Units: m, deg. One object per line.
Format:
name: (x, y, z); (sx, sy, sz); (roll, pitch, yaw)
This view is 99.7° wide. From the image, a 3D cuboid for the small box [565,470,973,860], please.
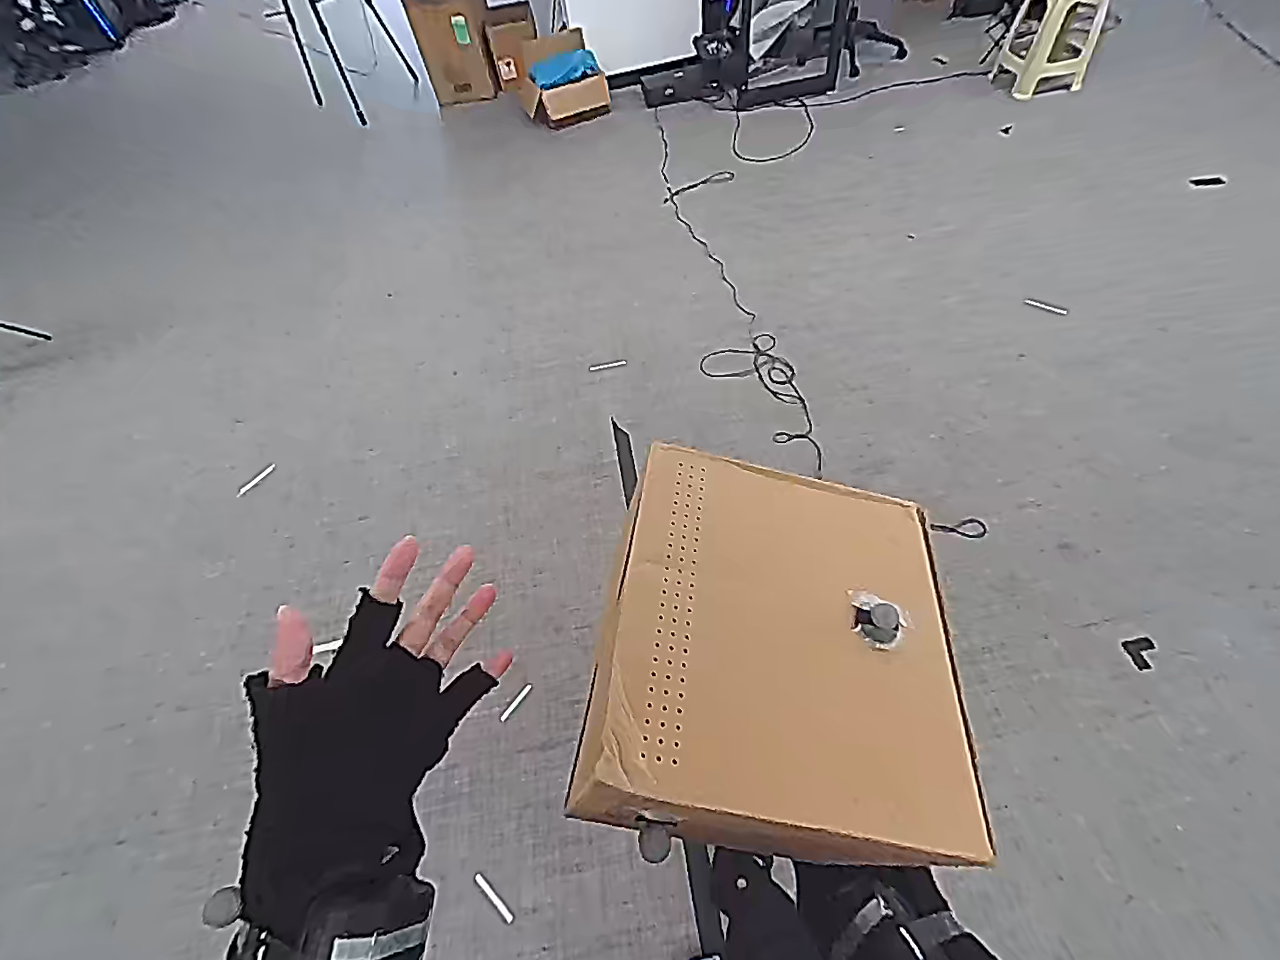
small box: (0.058, 0.116, 0.336); (0.176, 0.168, 0.179); (12, 53, -2)
